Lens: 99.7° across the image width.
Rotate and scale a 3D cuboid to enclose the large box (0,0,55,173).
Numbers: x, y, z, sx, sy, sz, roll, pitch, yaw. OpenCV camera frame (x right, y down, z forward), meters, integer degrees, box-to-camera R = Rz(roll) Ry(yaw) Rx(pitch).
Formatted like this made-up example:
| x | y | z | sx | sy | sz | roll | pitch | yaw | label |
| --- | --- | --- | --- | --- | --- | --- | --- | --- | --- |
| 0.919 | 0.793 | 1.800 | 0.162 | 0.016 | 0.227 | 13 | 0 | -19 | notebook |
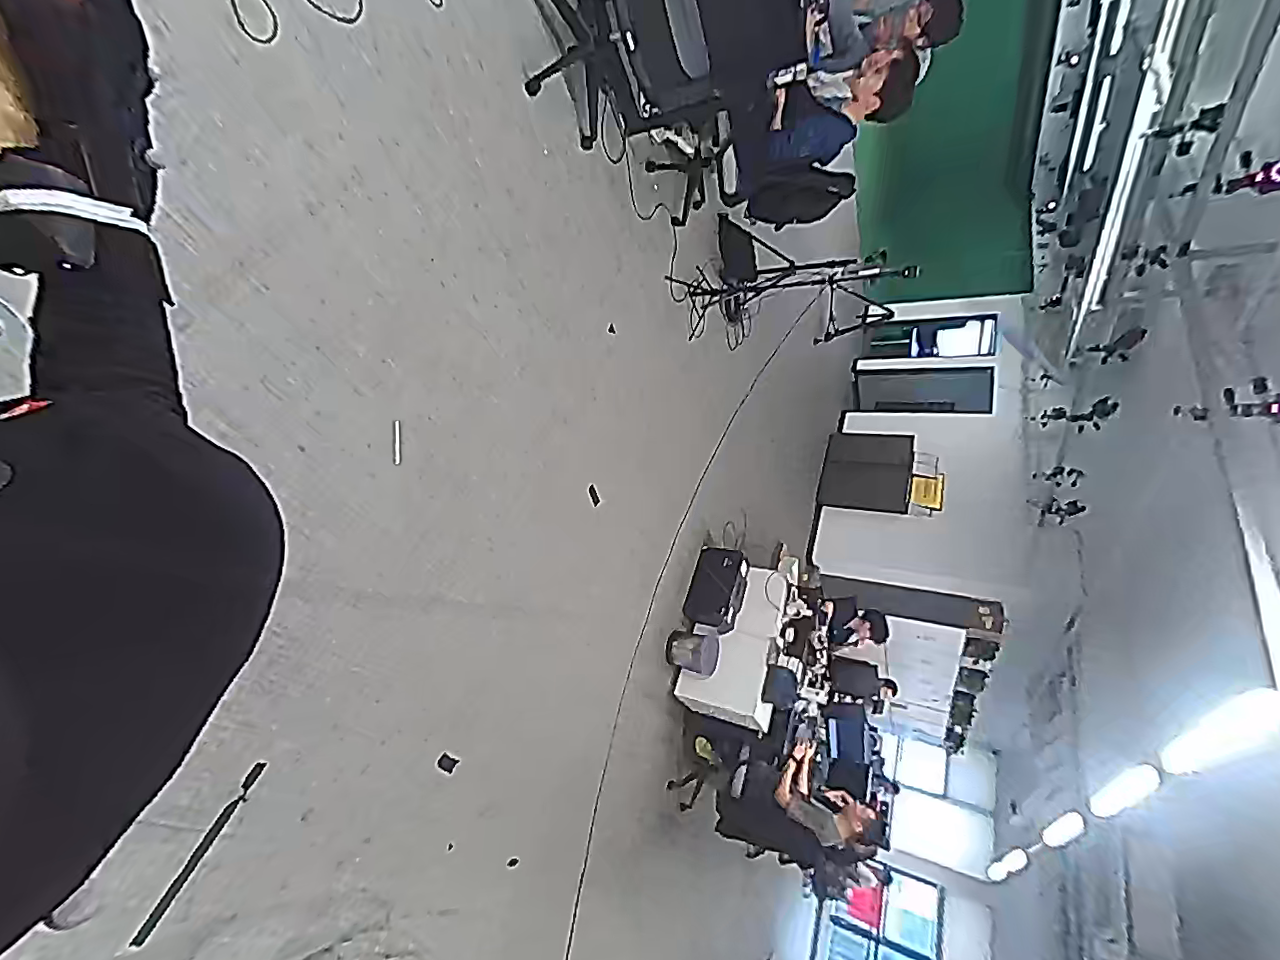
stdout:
| x | y | z | sx | sy | sz | roll | pitch | yaw | label |
| --- | --- | --- | --- | --- | --- | --- | --- | --- | --- |
| -0.633 | -0.361 | 0.247 | 0.408 | 0.320 | 0.320 | -22 | 125 | -58 | large box |
